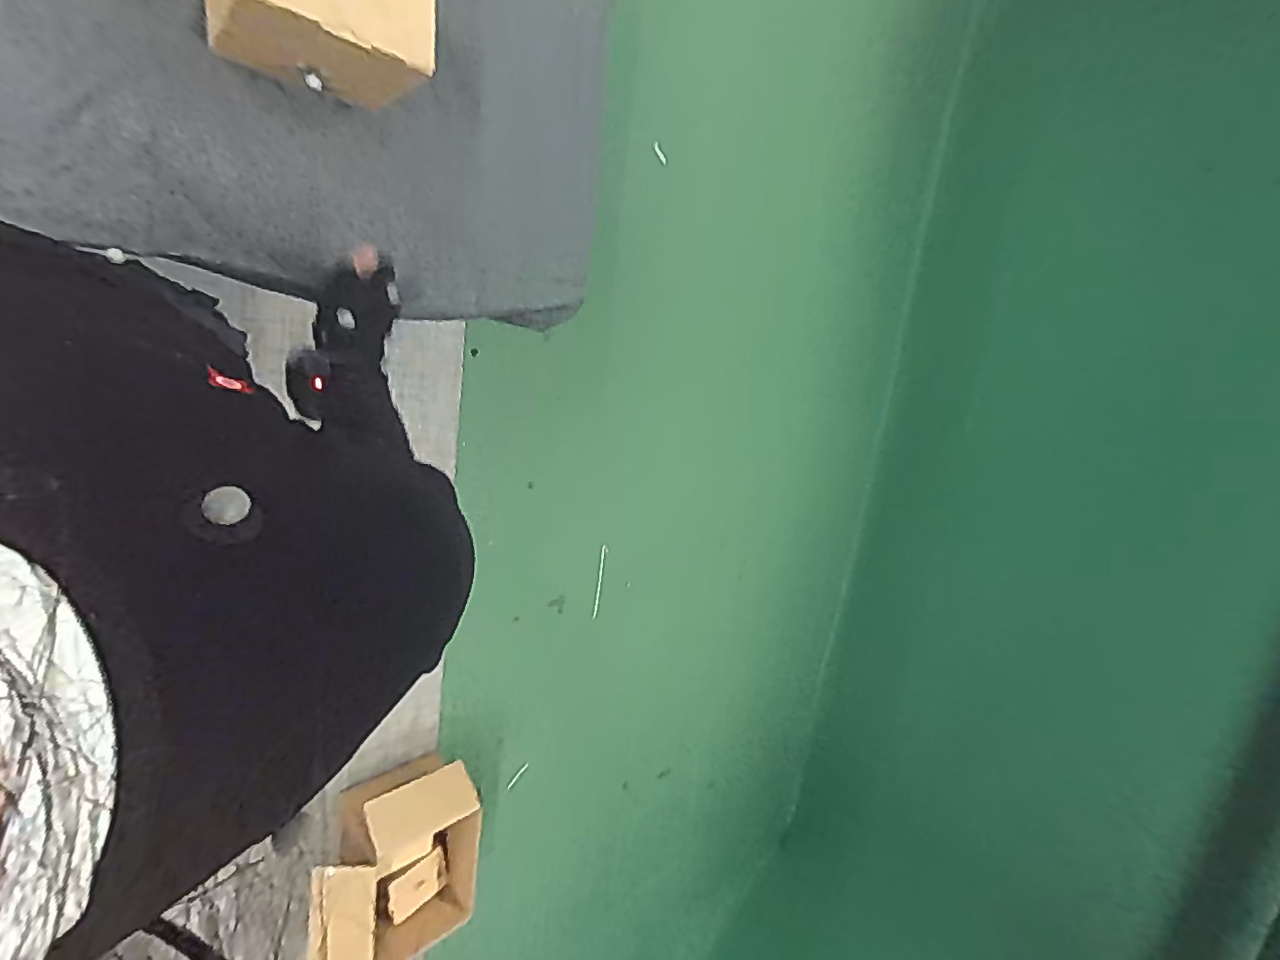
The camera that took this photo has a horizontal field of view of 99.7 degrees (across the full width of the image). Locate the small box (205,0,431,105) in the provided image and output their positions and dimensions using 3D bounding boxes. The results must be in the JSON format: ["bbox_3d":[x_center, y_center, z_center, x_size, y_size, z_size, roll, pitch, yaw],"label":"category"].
[{"bbox_3d":[-0.324,-0.519,0.540,0.168,0.176,0.179,-6,108,-44],"label":"small box"}]
